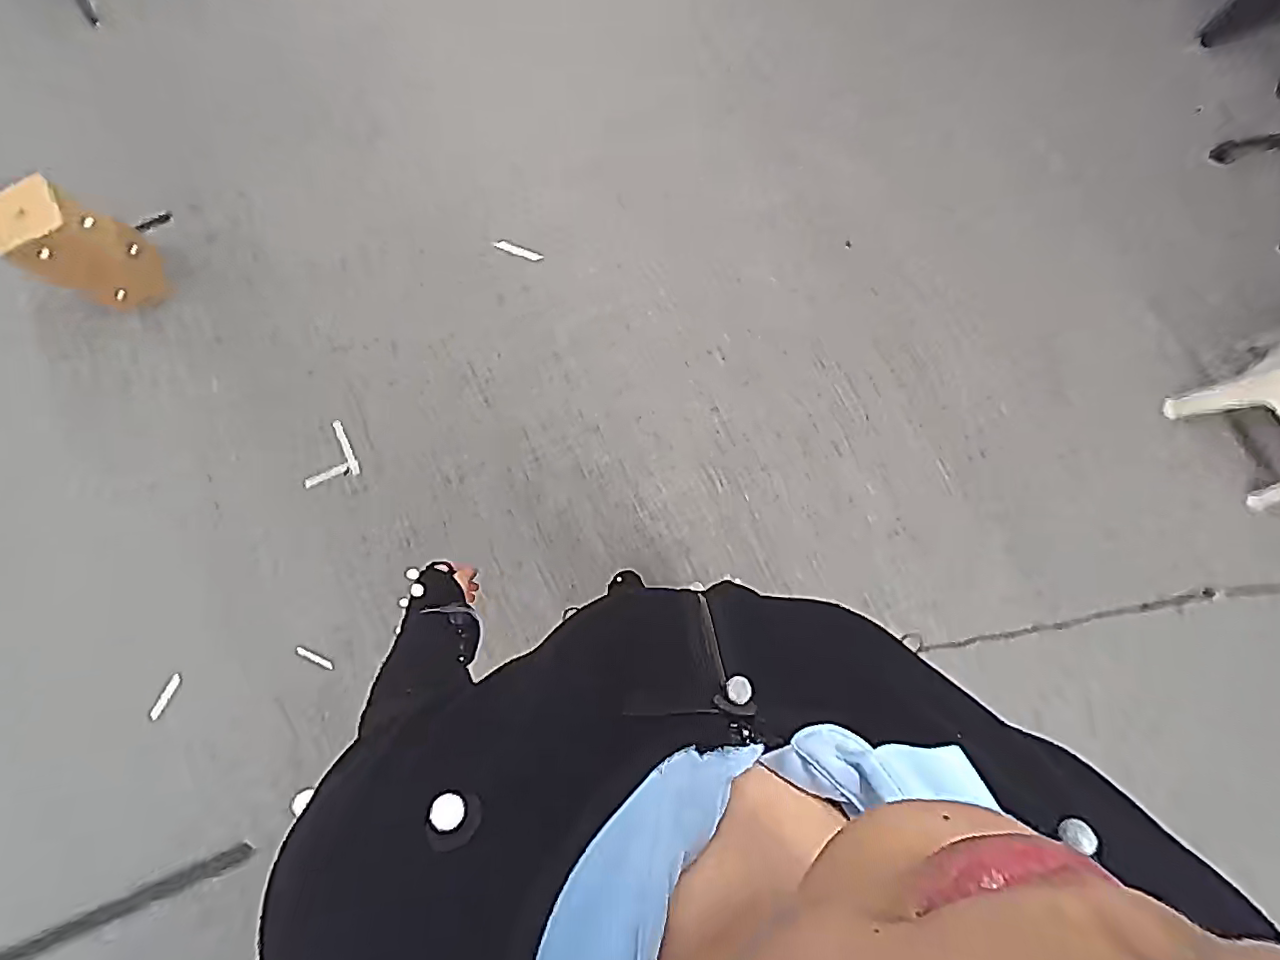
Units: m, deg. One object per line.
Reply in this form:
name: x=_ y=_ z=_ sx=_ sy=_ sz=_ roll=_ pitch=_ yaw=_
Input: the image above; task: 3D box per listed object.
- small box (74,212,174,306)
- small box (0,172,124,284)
small box: x=-1.516 y=-0.633 z=1.577 sx=0.168 sy=0.176 sz=0.179 roll=-21 pitch=80 yaw=-4
small box: x=-1.516 y=-0.651 z=1.414 sx=0.179 sy=0.176 sz=0.168 roll=-29 pitch=82 yaw=-5
